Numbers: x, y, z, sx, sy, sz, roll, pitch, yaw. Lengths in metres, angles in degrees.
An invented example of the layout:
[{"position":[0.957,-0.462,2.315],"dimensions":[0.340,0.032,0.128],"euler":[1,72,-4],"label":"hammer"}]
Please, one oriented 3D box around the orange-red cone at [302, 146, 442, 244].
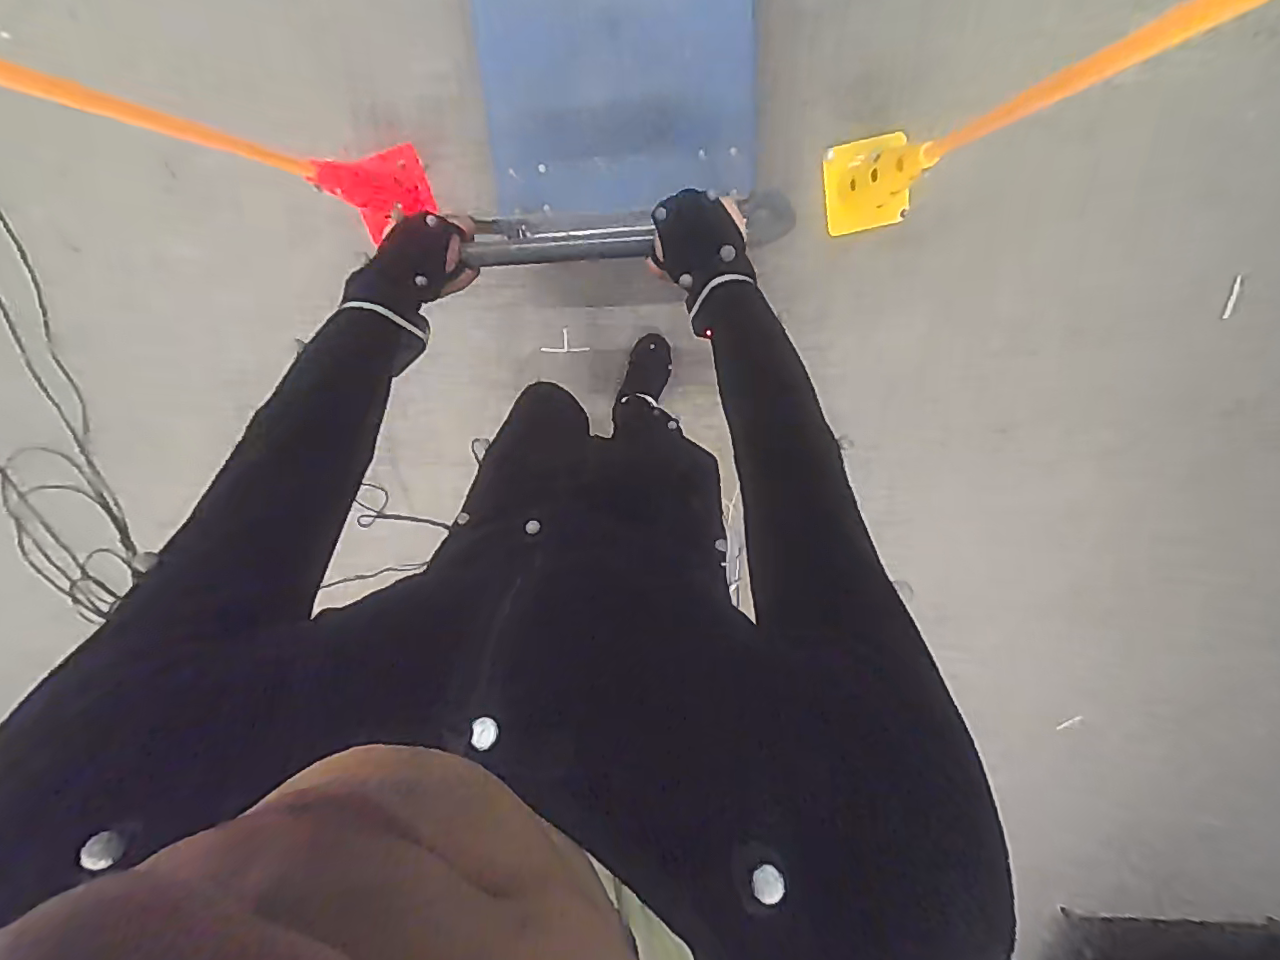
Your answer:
[{"position":[-0.632,-0.663,1.217],"dimensions":[0.199,0.360,0.198],"euler":[-13,109,9],"label":"orange-red cone"}]
